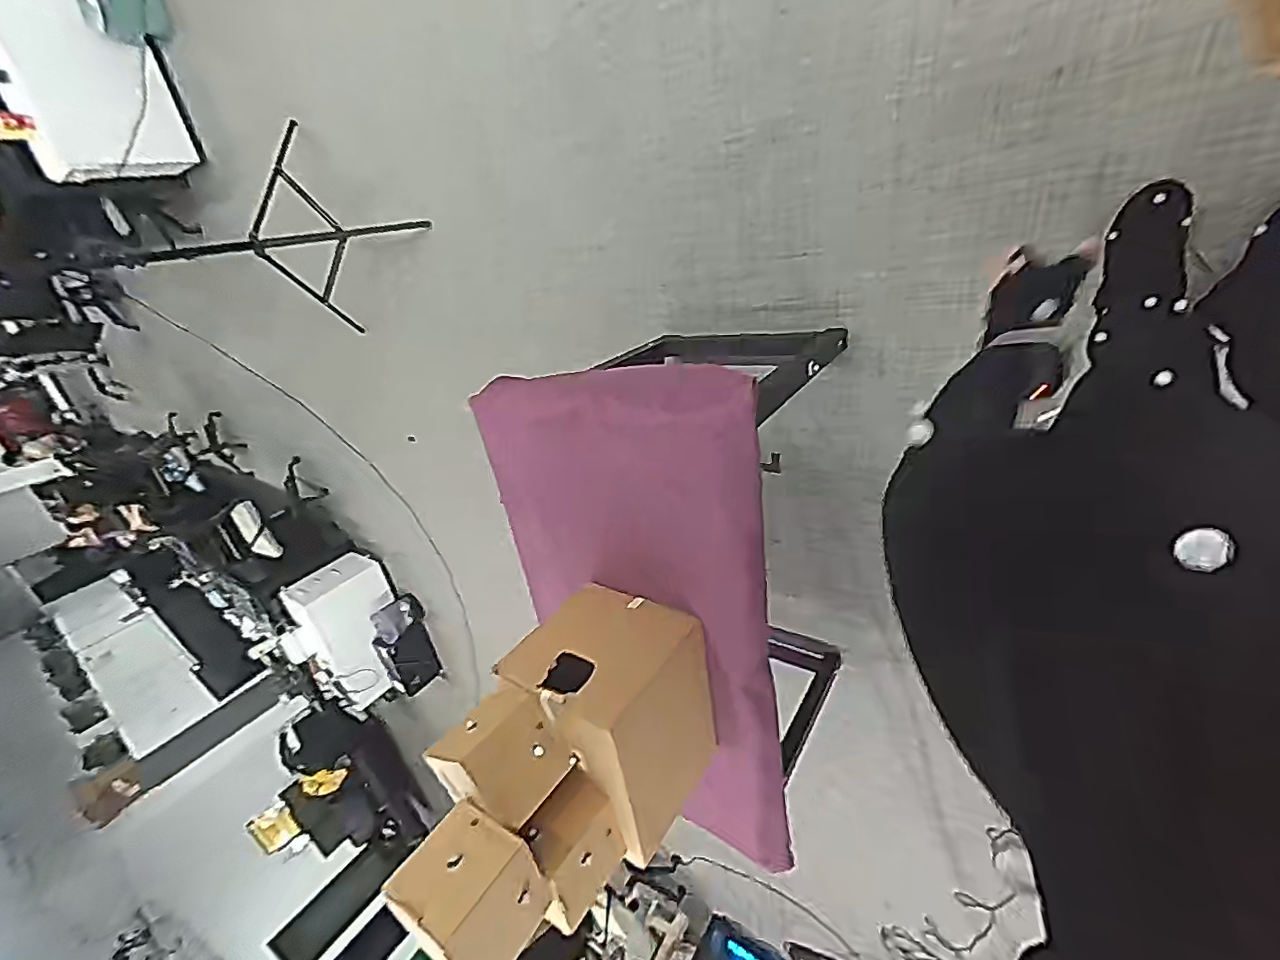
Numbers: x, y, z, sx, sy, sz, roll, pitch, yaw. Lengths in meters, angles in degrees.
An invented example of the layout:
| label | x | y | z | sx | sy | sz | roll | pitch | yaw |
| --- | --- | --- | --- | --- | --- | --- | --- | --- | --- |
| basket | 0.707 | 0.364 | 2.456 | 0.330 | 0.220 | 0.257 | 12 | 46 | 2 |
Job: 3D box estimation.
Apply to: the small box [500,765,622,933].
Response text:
| label | x | y | z | sx | sy | sz | roll | pitch | yaw |
| --- | --- | --- | --- | --- | --- | --- | --- | --- | --- |
| small box | -0.149 | 0.690 | 1.033 | 0.179 | 0.176 | 0.168 | 8 | 119 | 38 |

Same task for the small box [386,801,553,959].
| label | x | y | z | sx | sy | sz | roll | pitch | yaw |
| --- | --- | --- | --- | --- | --- | --- | --- | --- | --- |
| small box | -0.272 | 0.678 | 0.890 | 0.168 | 0.176 | 0.179 | 6 | 121 | 37 |

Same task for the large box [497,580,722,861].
| label | x | y | z | sx | sy | sz | roll | pitch | yaw |
| --- | --- | --- | --- | --- | --- | --- | --- | --- | --- |
| large box | -0.045 | 0.493 | 1.174 | 0.320 | 0.320 | 0.408 | 8 | 120 | 35 |
